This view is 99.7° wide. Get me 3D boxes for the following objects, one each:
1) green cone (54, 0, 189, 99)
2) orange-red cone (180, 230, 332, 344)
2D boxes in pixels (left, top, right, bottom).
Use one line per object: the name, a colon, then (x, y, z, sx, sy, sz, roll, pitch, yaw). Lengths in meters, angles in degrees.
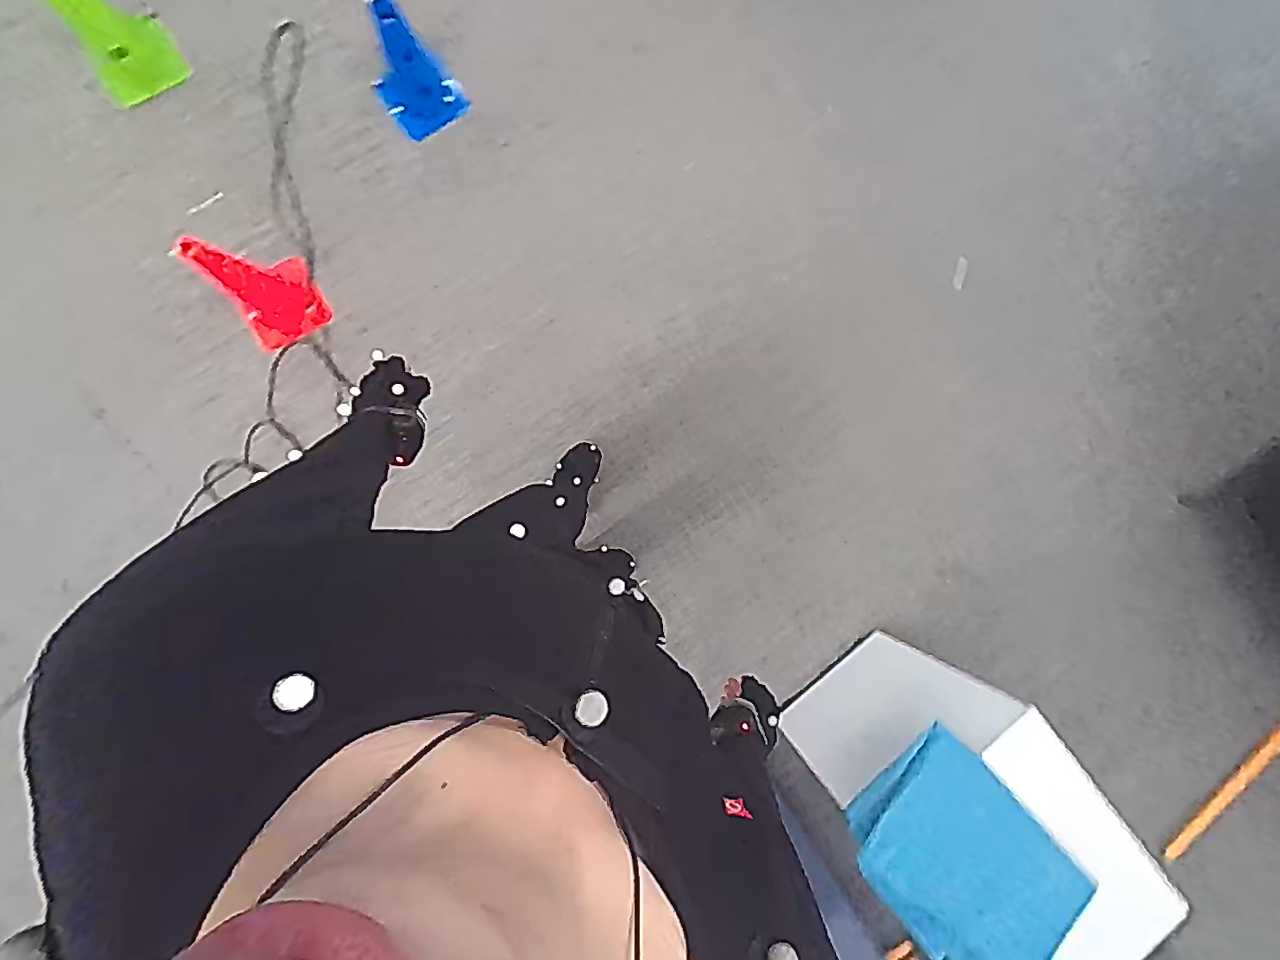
green cone: (-1.303, -1.121, 1.244, 0.200, 0.368, 0.202, -31, 93, -4)
orange-red cone: (-0.938, -0.488, 1.276, 0.198, 0.360, 0.199, -29, 91, -6)
